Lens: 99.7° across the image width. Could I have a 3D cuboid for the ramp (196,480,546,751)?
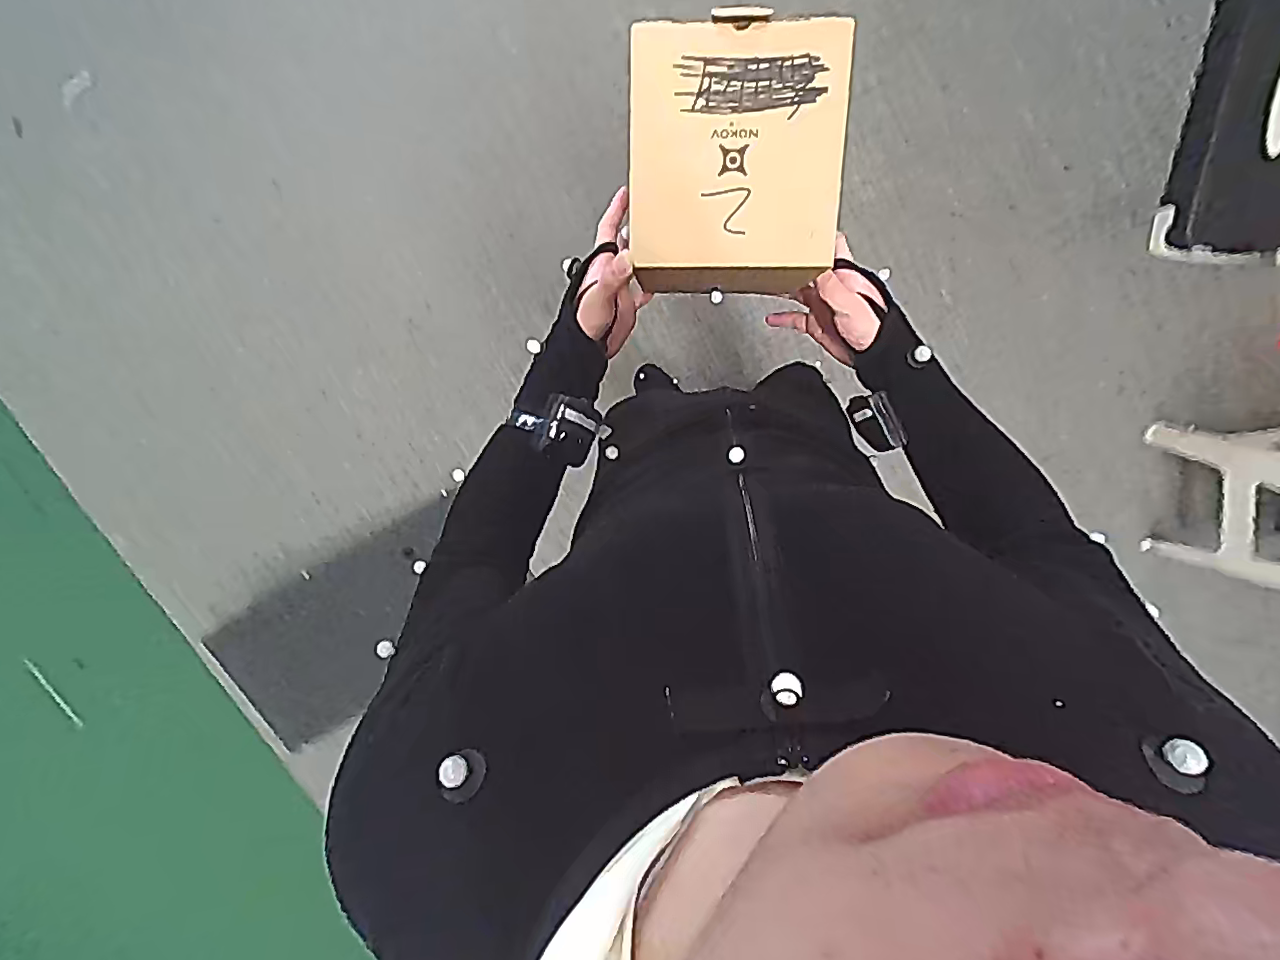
[{"bbox_3d":[-0.853,0.442,1.741,0.991,0.206,0.509,-29,99,11],"label":"ramp"}]
